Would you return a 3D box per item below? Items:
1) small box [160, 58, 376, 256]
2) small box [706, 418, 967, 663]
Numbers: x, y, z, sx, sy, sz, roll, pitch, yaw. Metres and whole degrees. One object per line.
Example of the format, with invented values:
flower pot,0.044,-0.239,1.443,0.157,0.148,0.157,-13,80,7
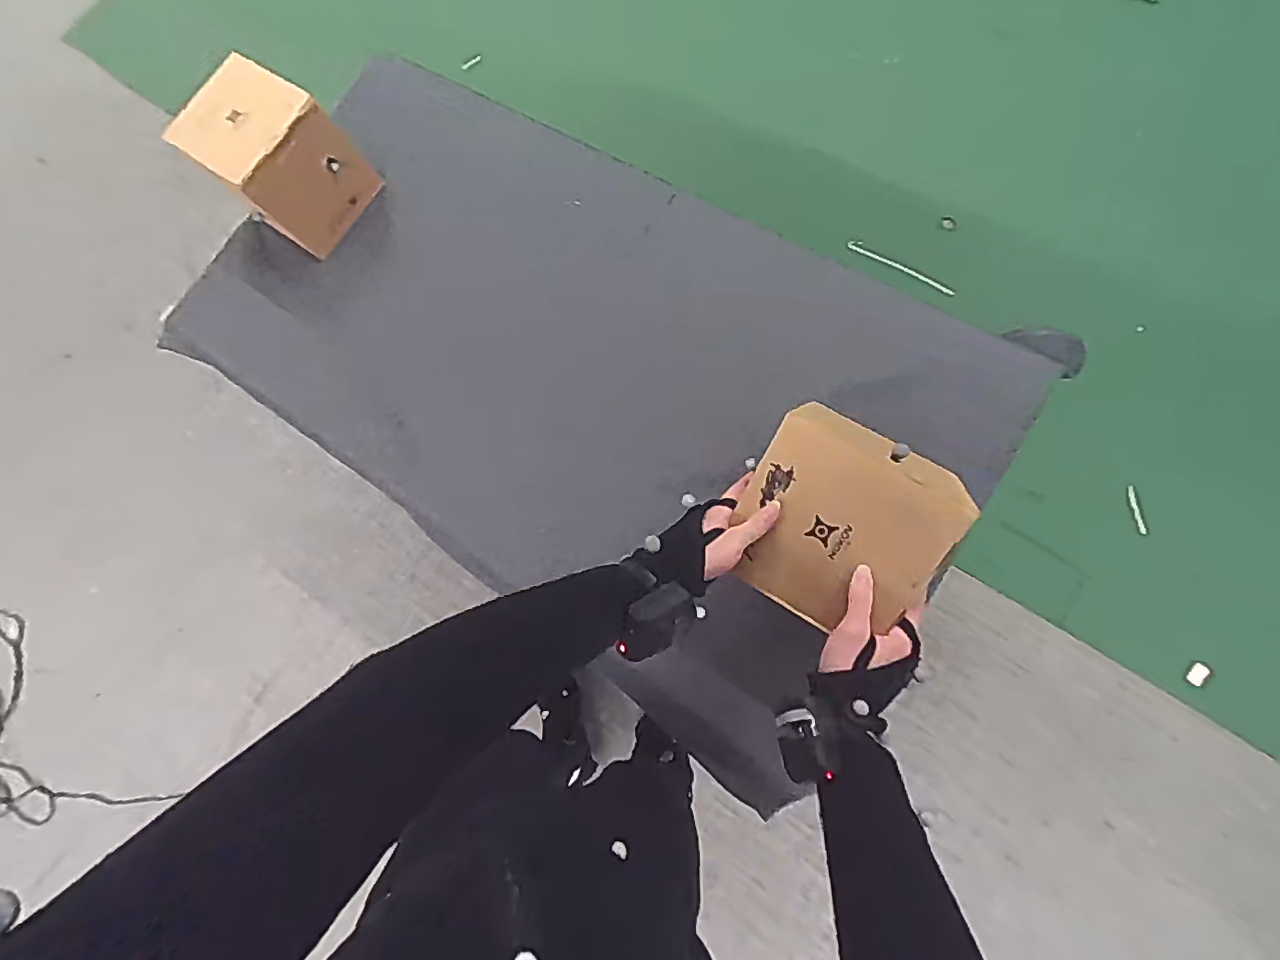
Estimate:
small box,-0.550,-0.477,0.826,0.179,0.176,0.168,36,83,14
small box,0.200,0.045,0.566,0.179,0.176,0.168,31,112,15
